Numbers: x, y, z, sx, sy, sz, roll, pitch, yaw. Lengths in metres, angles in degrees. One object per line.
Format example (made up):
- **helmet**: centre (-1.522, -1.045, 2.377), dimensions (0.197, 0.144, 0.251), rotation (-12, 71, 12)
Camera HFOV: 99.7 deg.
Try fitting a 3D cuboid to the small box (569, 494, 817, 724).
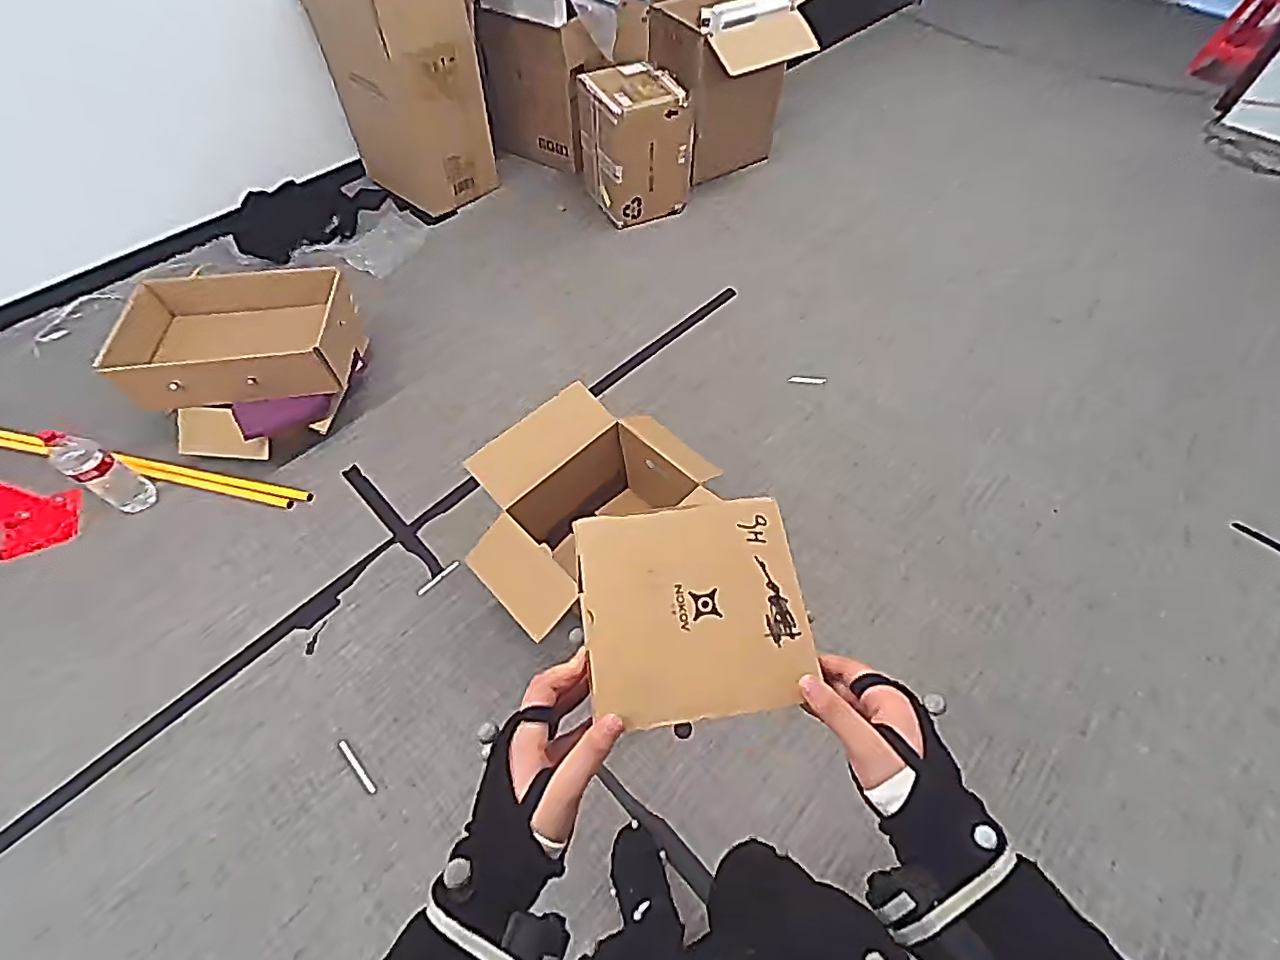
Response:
- **small box**: centre (0.036, 0.127, 0.500), dimensions (0.179, 0.176, 0.168), rotation (-7, 67, -5)
